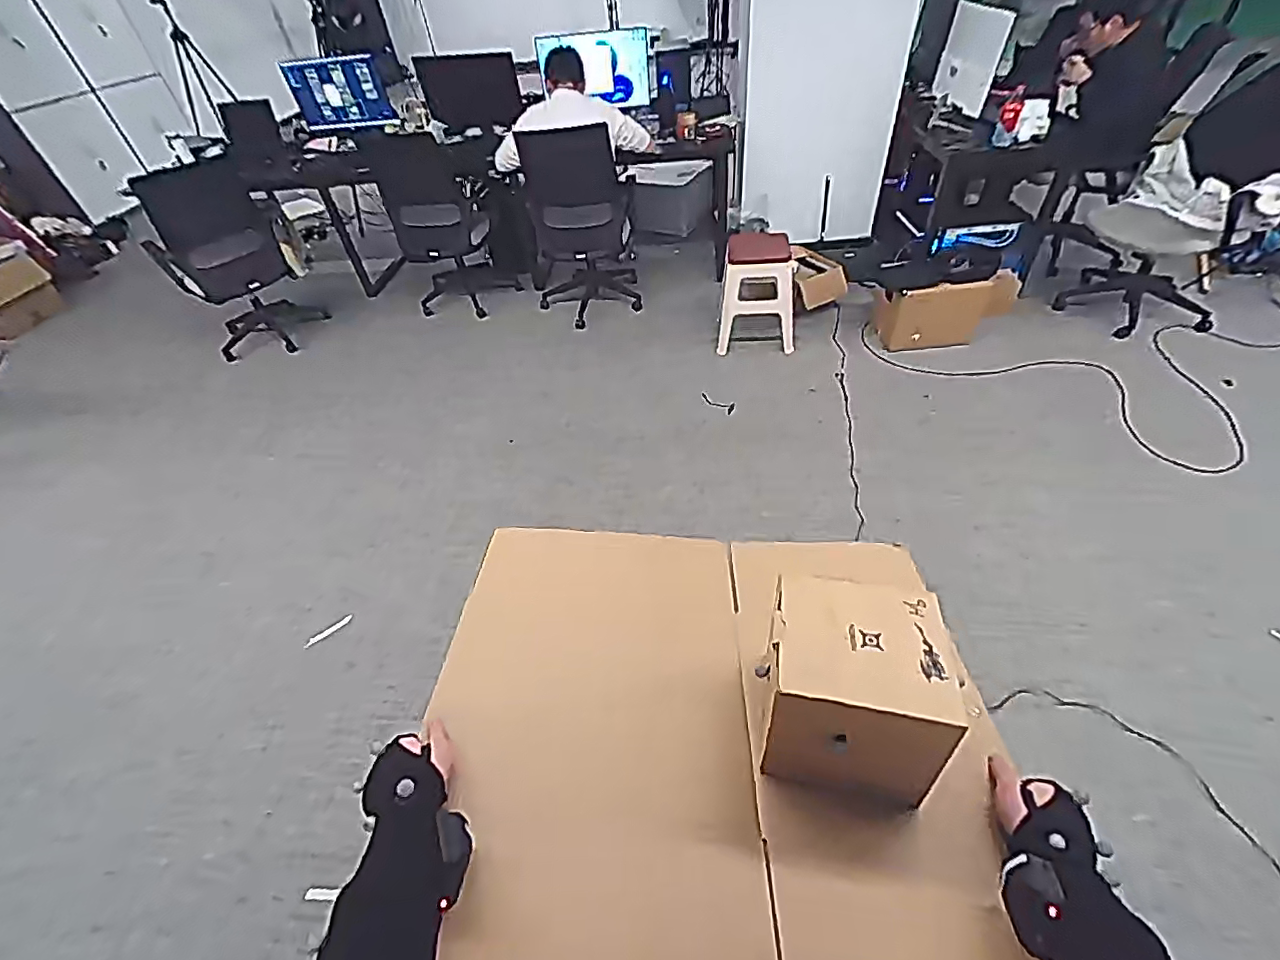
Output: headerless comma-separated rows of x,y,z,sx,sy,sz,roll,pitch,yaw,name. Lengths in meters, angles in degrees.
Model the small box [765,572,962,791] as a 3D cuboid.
0.242,0.233,0.632,0.179,0.176,0.168,5,38,12,small box
